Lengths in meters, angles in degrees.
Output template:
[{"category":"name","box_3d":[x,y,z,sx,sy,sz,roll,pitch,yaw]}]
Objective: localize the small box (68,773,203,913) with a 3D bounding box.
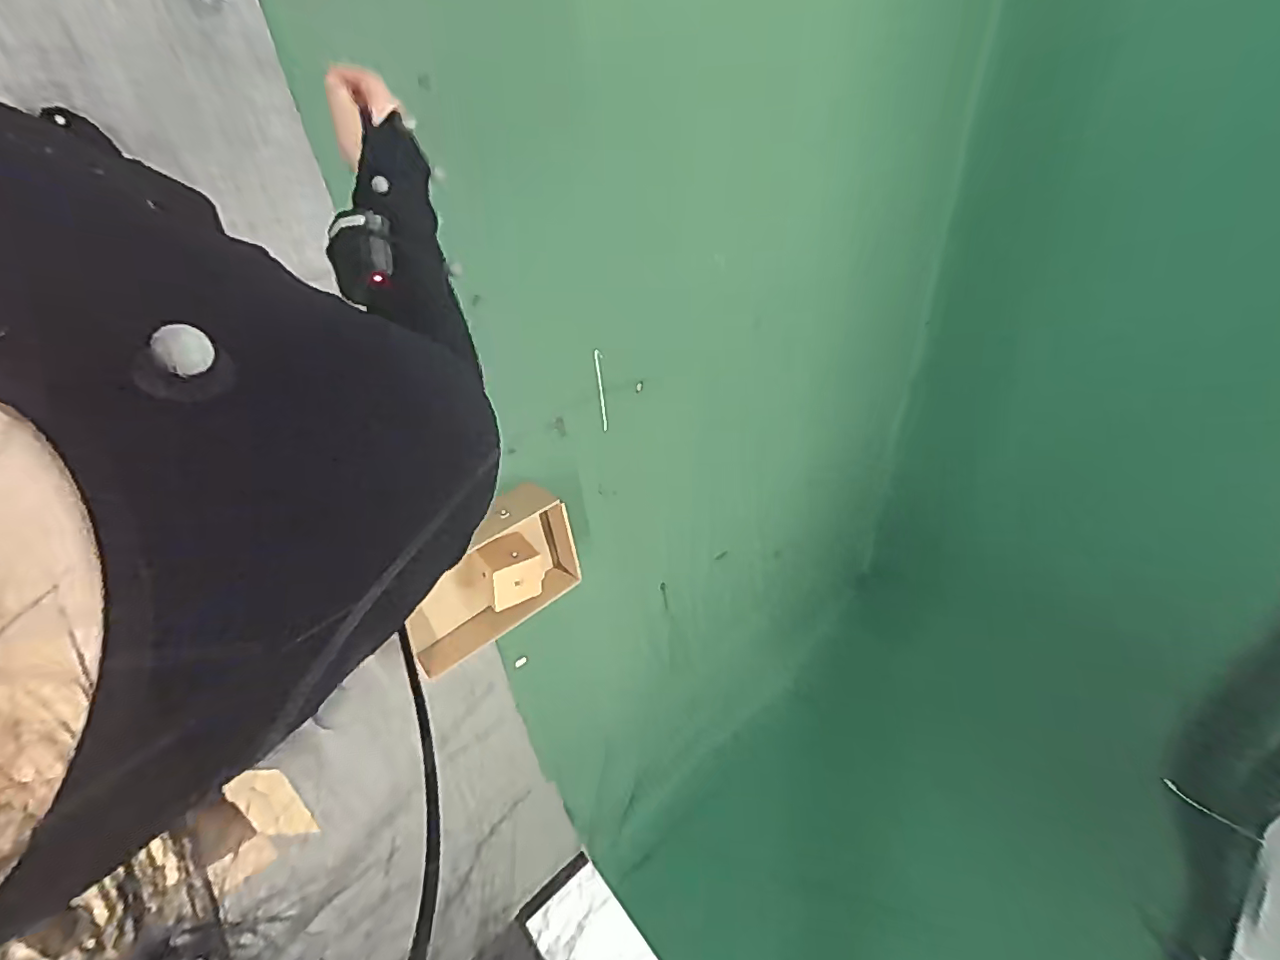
[{"category":"small box","box_3d":[-1.160,0.829,1.250,0.179,0.176,0.168,-27,129,-30]}]

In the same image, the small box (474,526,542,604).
[{"category":"small box","box_3d":[-0.449,0.282,1.828,0.179,0.176,0.168,-19,127,-36]}]
